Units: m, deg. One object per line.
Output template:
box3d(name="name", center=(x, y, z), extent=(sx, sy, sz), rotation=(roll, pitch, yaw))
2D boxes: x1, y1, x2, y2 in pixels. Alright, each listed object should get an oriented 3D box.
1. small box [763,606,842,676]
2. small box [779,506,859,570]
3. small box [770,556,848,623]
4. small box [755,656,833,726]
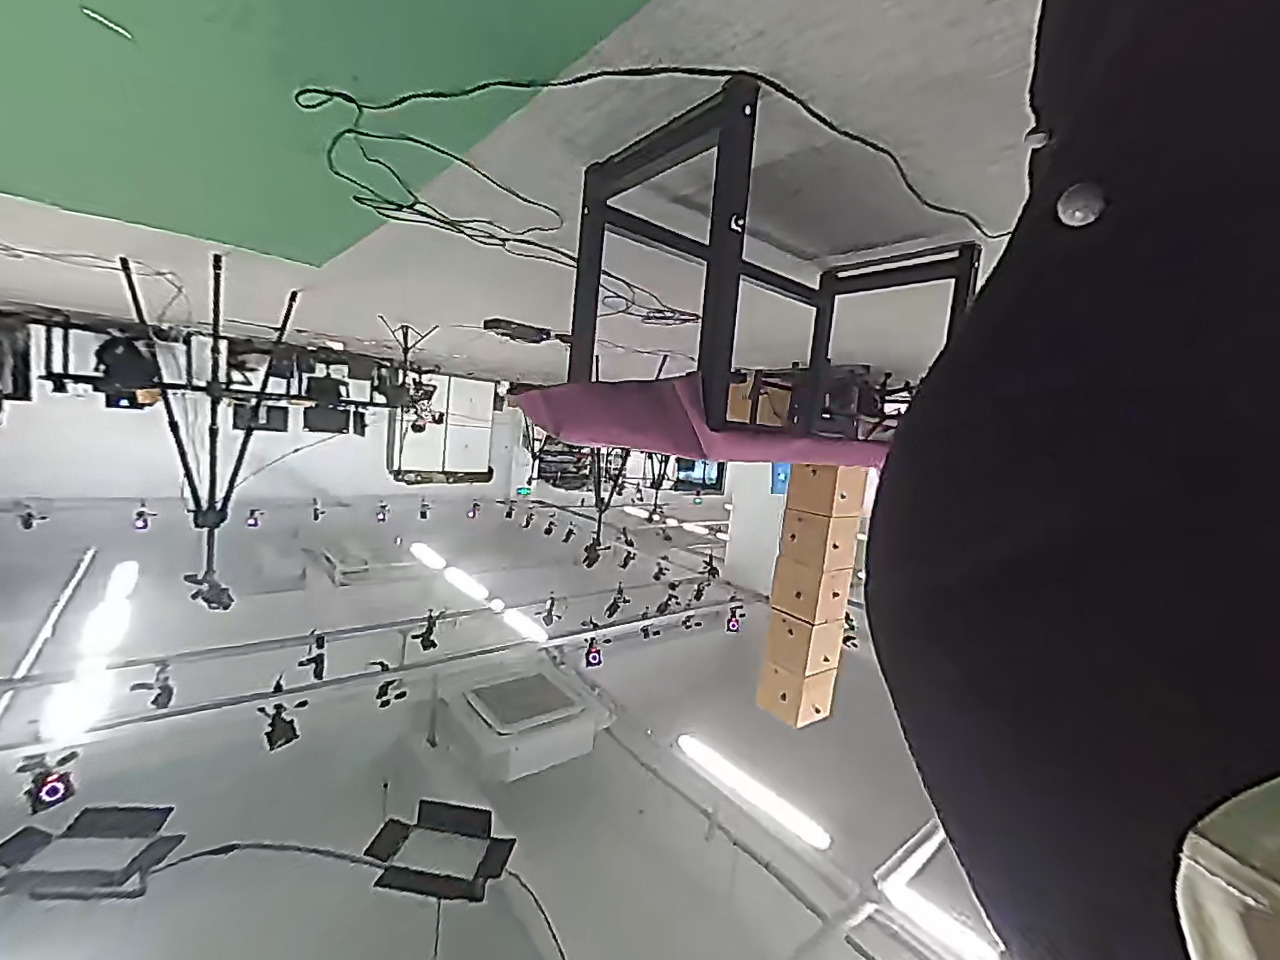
box3d(name="small box", center=(0.522, 0.497, 1.724), extent=(0.179, 0.176, 0.168), rotation=(3, -173, -38))
box3d(name="small box", center=(0.561, 0.174, 1.692), extent=(0.179, 0.176, 0.168), rotation=(1, -172, -39))
box3d(name="small box", center=(0.539, 0.334, 1.712), extent=(0.168, 0.176, 0.179), rotation=(3, -174, -38))
box3d(name="small box", center=(0.498, 0.657, 1.741), extent=(0.179, 0.176, 0.168), rotation=(2, -173, -38))
